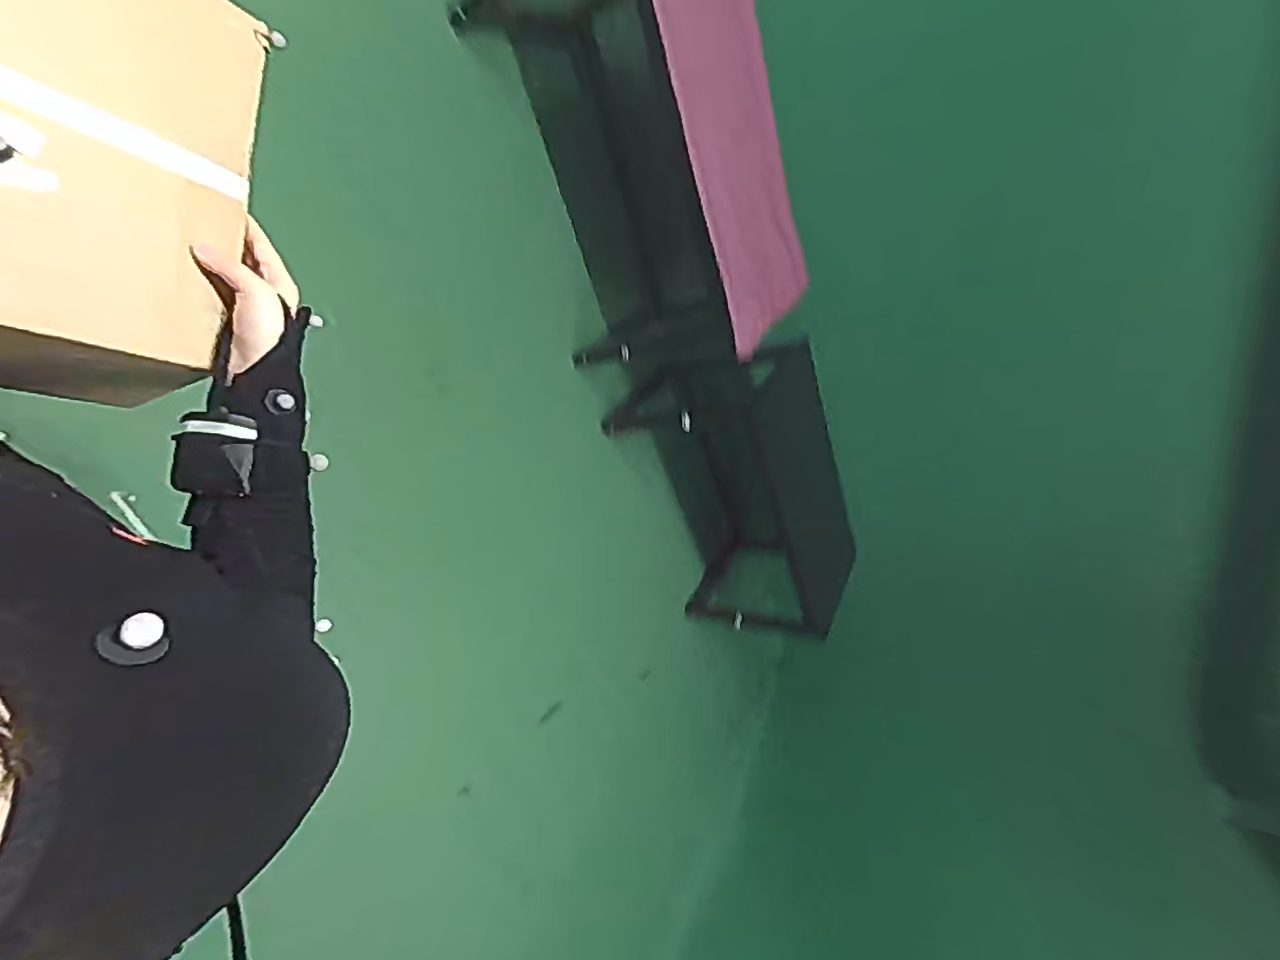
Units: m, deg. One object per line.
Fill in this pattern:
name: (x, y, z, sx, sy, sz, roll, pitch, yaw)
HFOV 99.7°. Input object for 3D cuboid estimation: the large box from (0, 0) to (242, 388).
large box: (-0.587, -0.270, 0.384, 0.408, 0.320, 0.320, 8, 84, -55)
